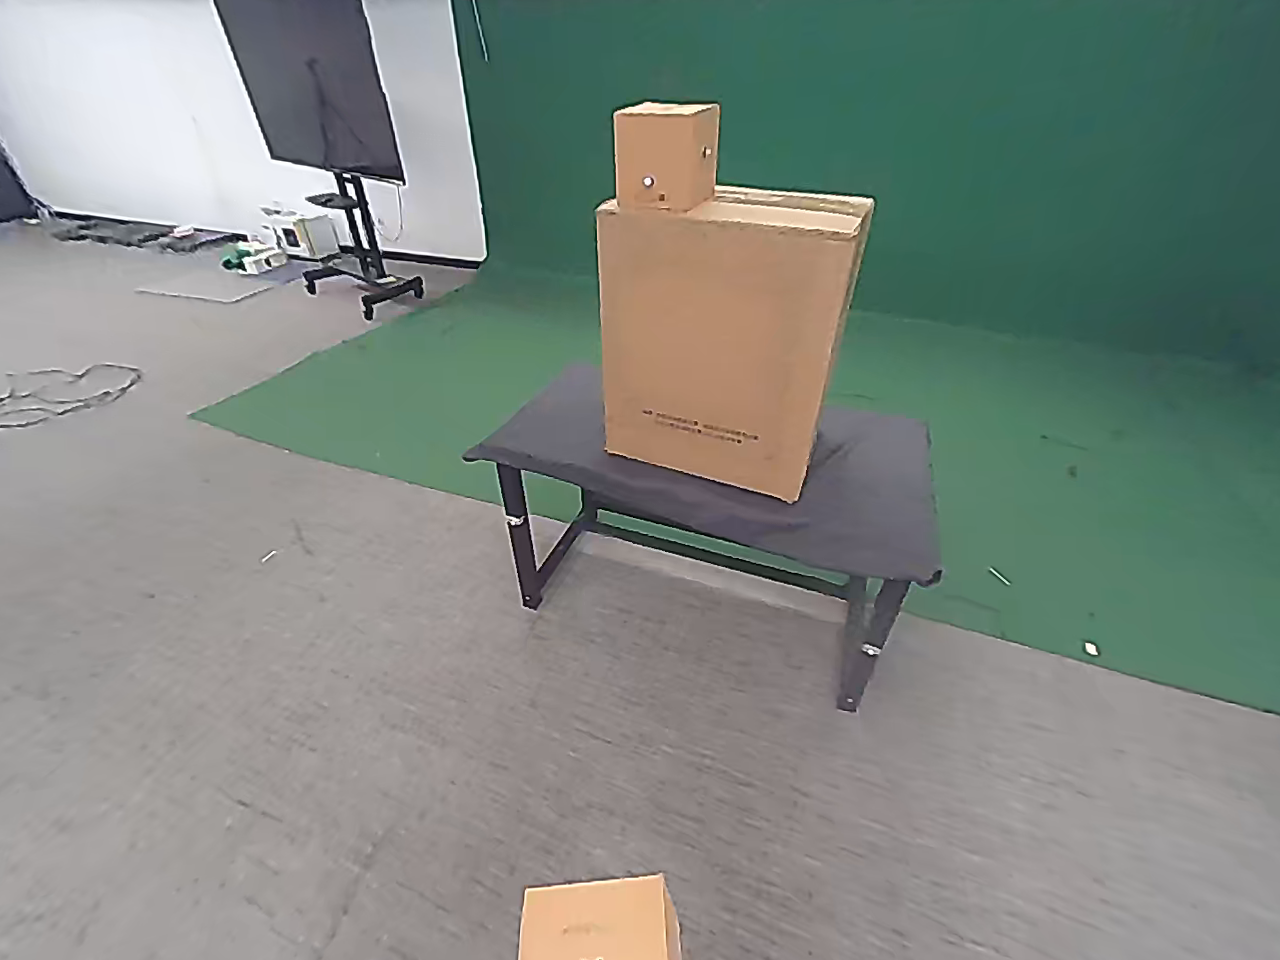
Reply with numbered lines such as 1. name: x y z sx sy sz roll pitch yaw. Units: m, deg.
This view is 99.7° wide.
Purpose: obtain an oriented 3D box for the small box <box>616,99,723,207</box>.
1. small box: 0.061 -0.681 1.122 0.168 0.176 0.179 16 42 20

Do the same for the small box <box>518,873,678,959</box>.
1. small box: -0.040 0.585 0.613 0.168 0.176 0.179 -7 36 1
